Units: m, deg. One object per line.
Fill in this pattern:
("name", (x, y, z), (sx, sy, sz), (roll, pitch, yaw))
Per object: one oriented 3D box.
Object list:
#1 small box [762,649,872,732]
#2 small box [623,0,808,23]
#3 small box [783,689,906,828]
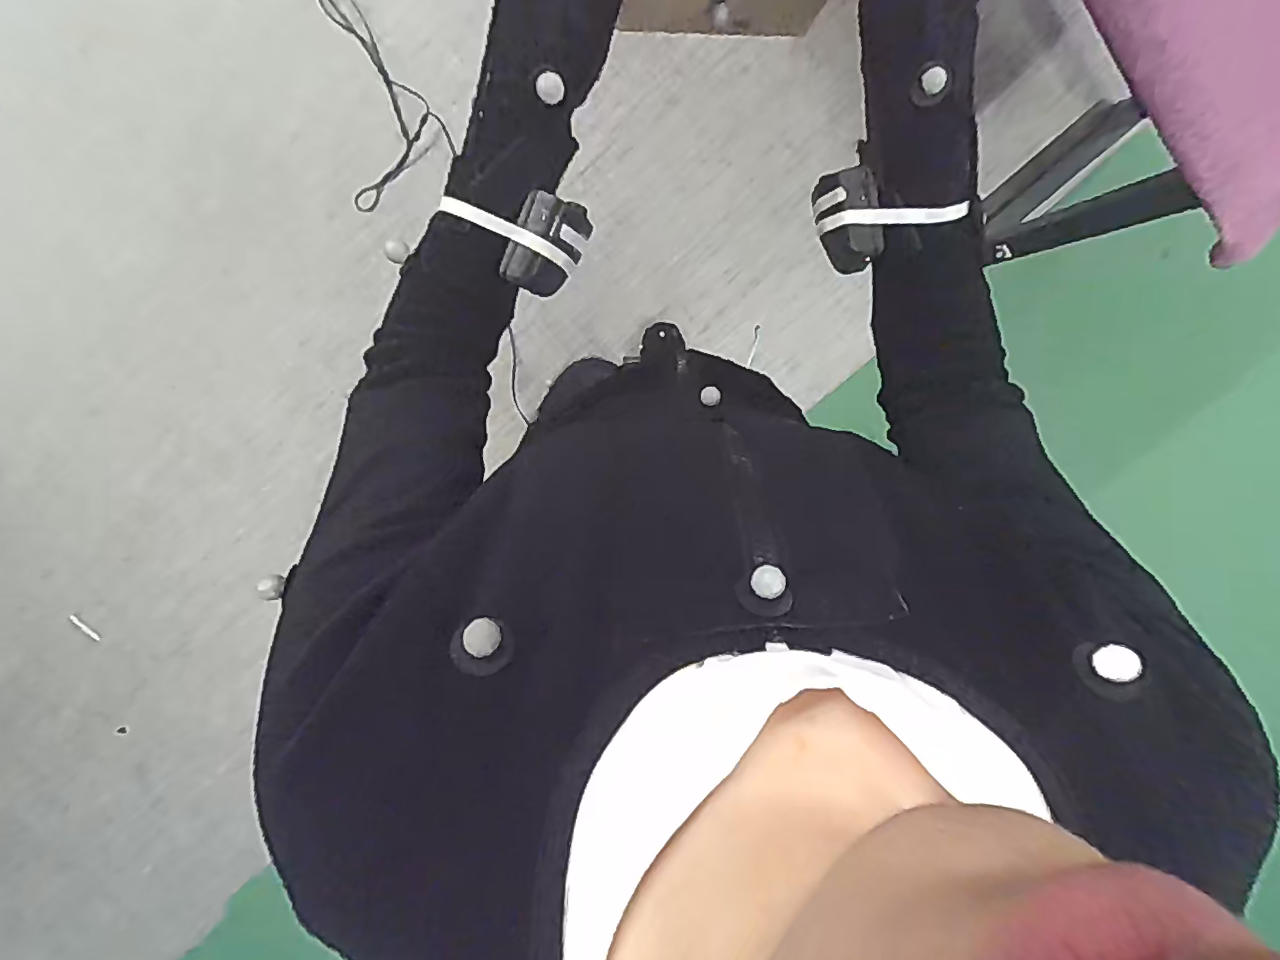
("small box", (0.436, 0.564, 1.362), (0.179, 0.176, 0.168), (-40, 100, 8))
("small box", (0.062, -0.452, 0.356), (0.168, 0.176, 0.179), (1, 108, -1))
("small box", (0.440, 0.611, 1.204), (0.179, 0.176, 0.168), (-42, 100, 8))
